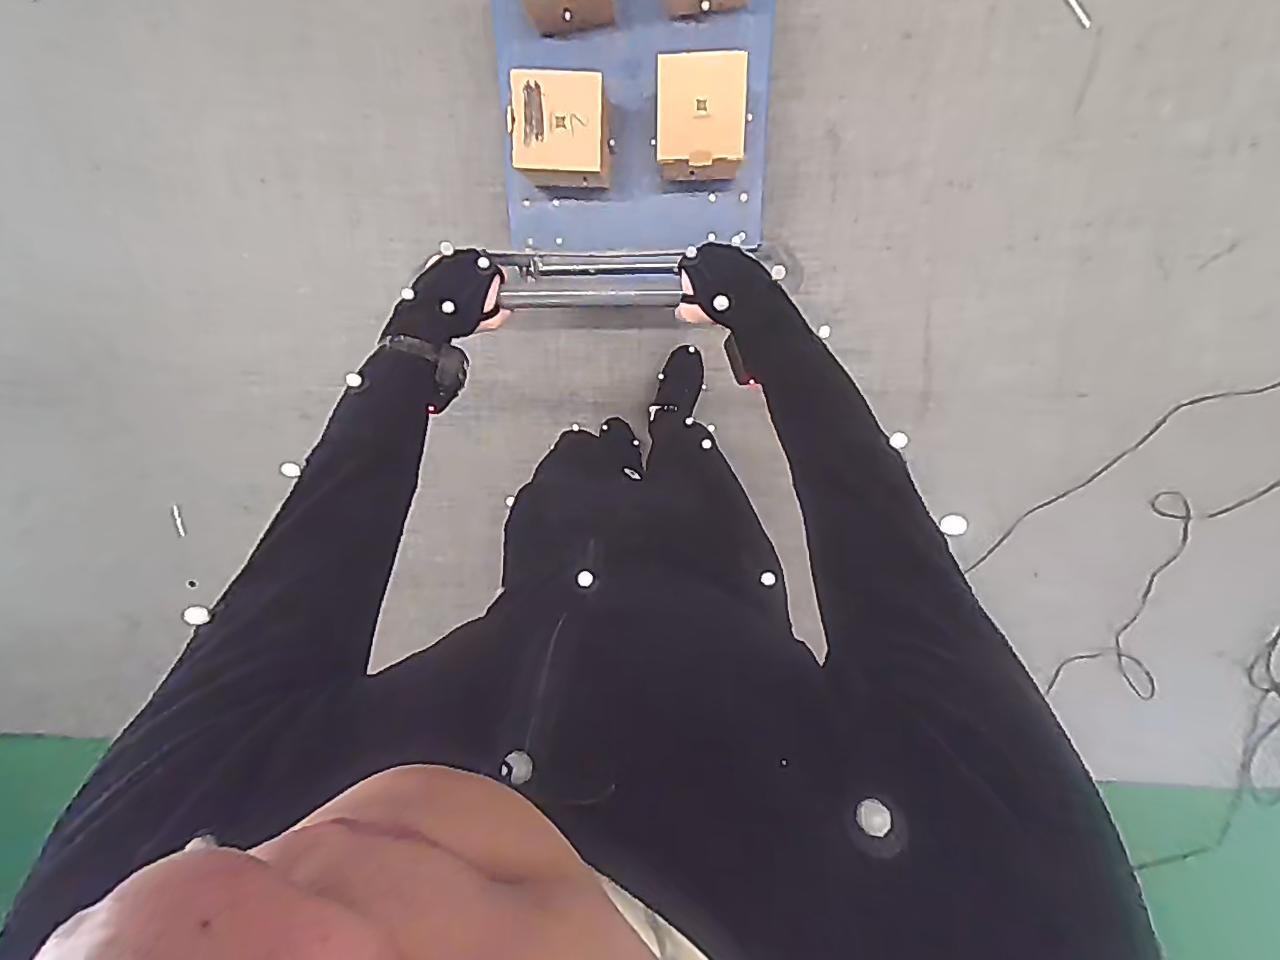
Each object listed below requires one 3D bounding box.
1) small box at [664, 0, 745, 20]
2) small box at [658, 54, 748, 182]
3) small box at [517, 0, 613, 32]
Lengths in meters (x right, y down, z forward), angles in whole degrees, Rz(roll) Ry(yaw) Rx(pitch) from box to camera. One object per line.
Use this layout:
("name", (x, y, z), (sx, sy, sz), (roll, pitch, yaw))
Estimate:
("small box", (0.117, -0.996, 0.989), (0.168, 0.176, 0.179), (-5, 109, 6))
("small box", (0.119, -0.716, 1.086), (0.168, 0.176, 0.179), (0, 109, 4))
("small box", (-0.148, -0.979, 1.012), (0.168, 0.176, 0.179), (-6, 108, 5))
